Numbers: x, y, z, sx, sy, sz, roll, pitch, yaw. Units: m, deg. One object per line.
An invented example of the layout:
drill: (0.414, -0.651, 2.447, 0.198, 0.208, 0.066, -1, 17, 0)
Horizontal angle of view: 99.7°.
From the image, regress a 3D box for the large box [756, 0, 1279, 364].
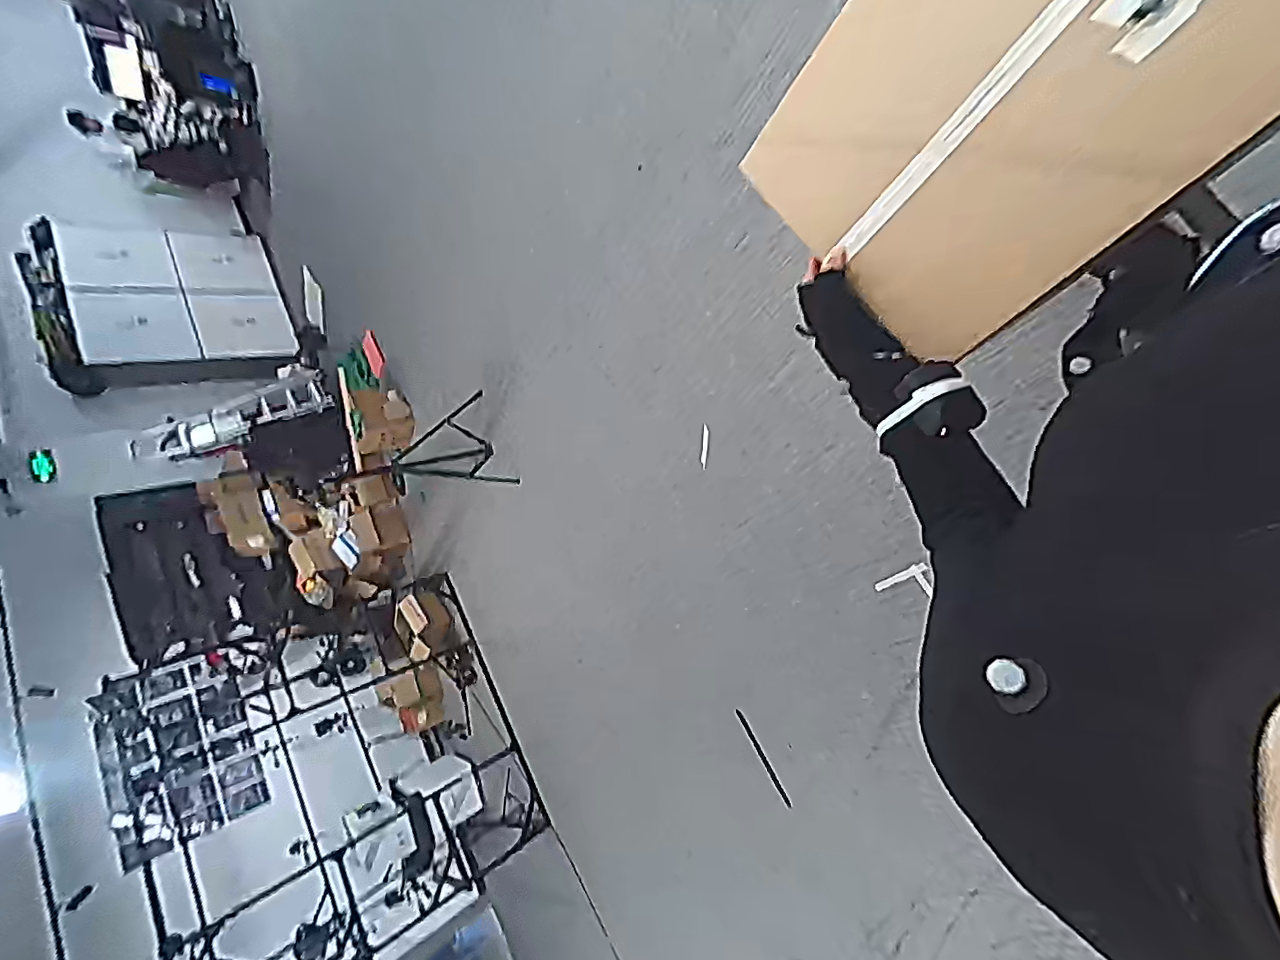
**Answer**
large box: (0.405, -0.381, 0.544, 0.320, 0.320, 0.408, 54, 136, 11)
